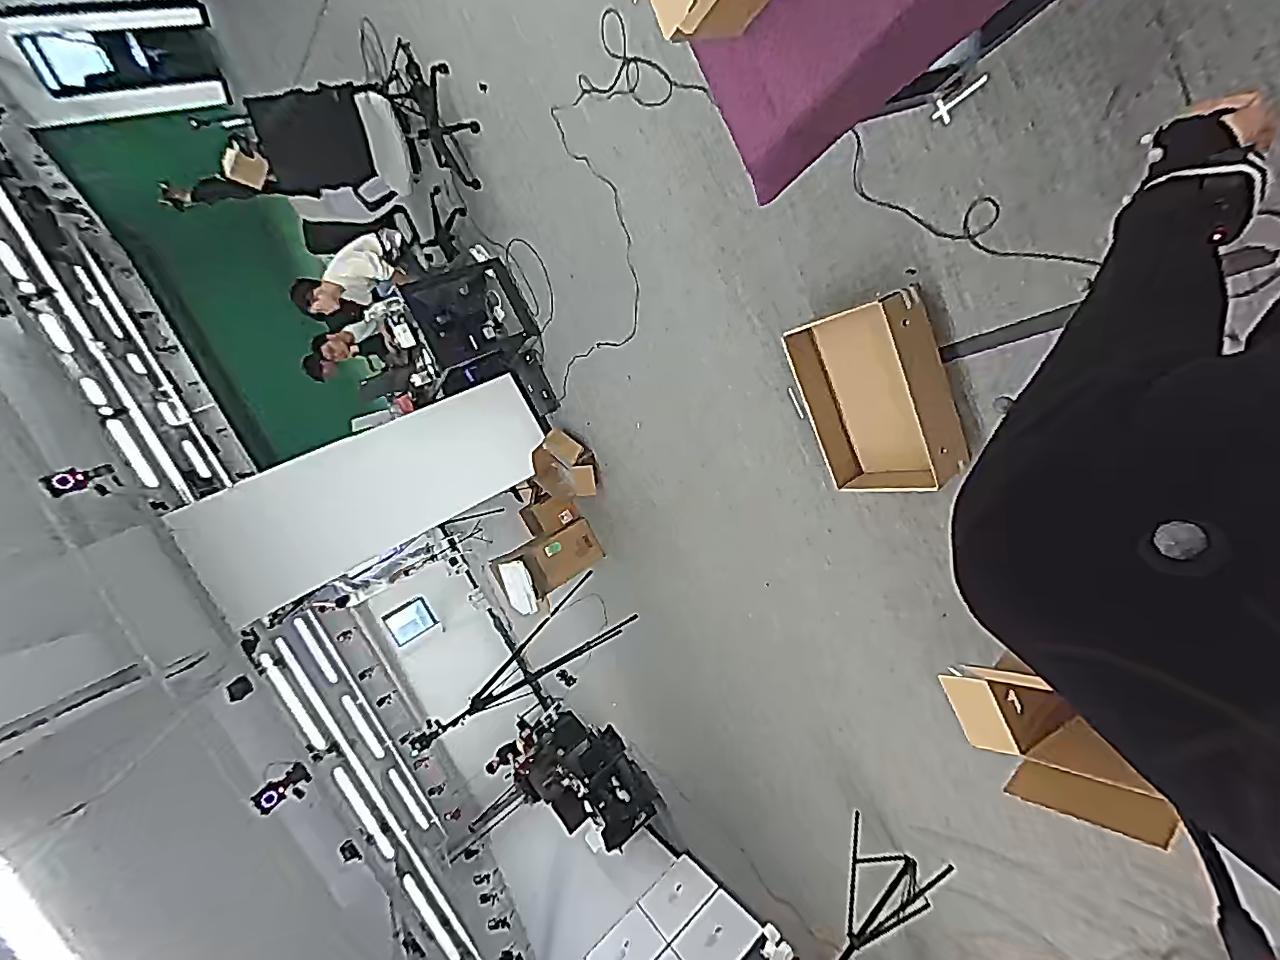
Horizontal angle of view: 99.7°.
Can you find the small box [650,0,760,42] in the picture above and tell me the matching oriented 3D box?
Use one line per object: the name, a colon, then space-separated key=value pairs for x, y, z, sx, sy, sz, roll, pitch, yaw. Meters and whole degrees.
small box: x=0.109 y=-0.806 z=0.802 sx=0.168 sy=0.176 sz=0.179 roll=-6 pitch=111 yaw=60
